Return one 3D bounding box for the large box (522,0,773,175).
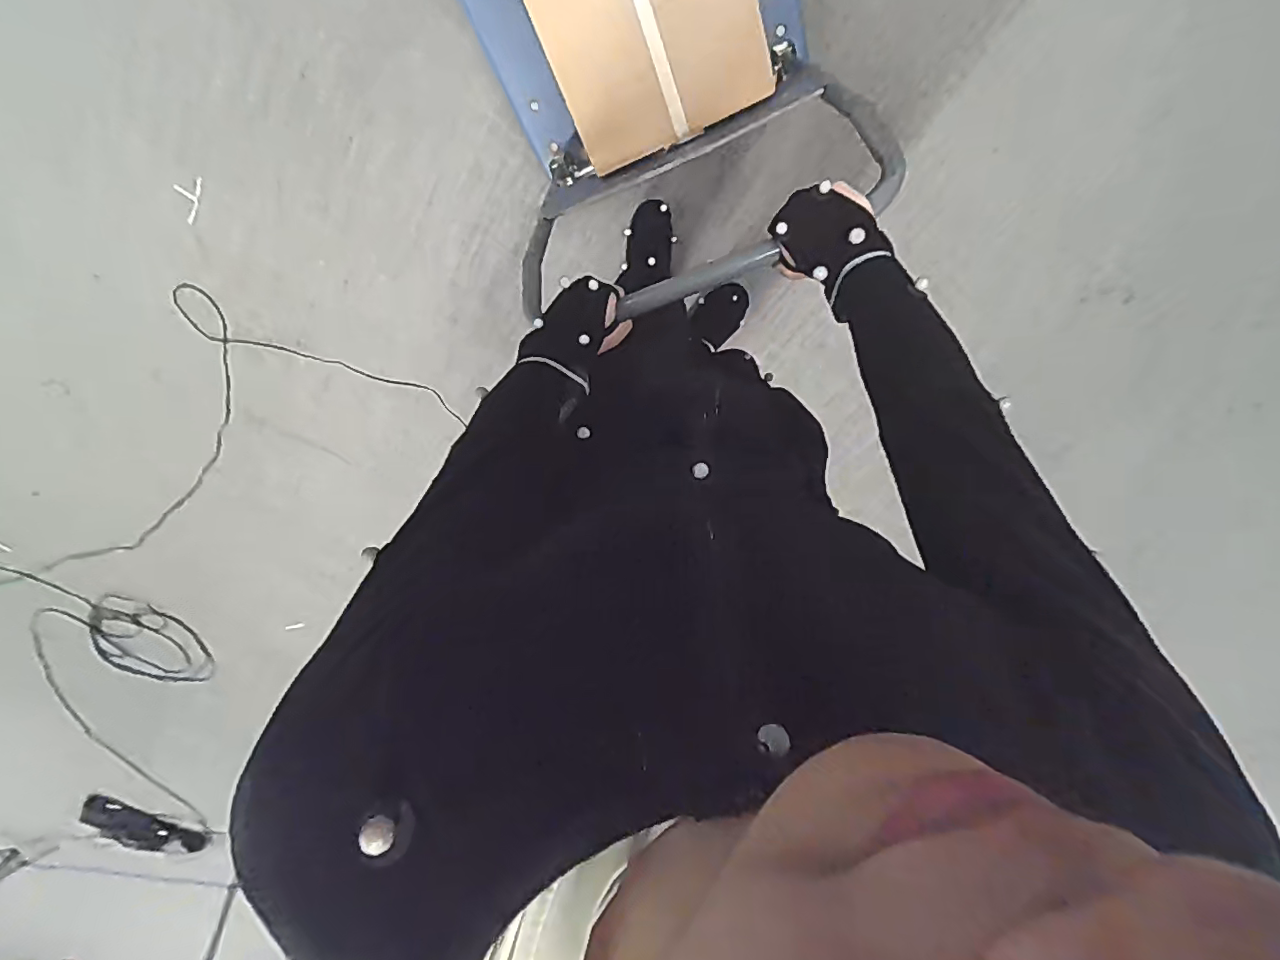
[{"bbox_3d":[-0.004,-0.798,0.882,0.320,0.320,0.408,-18,127,15],"label":"large box"}]
